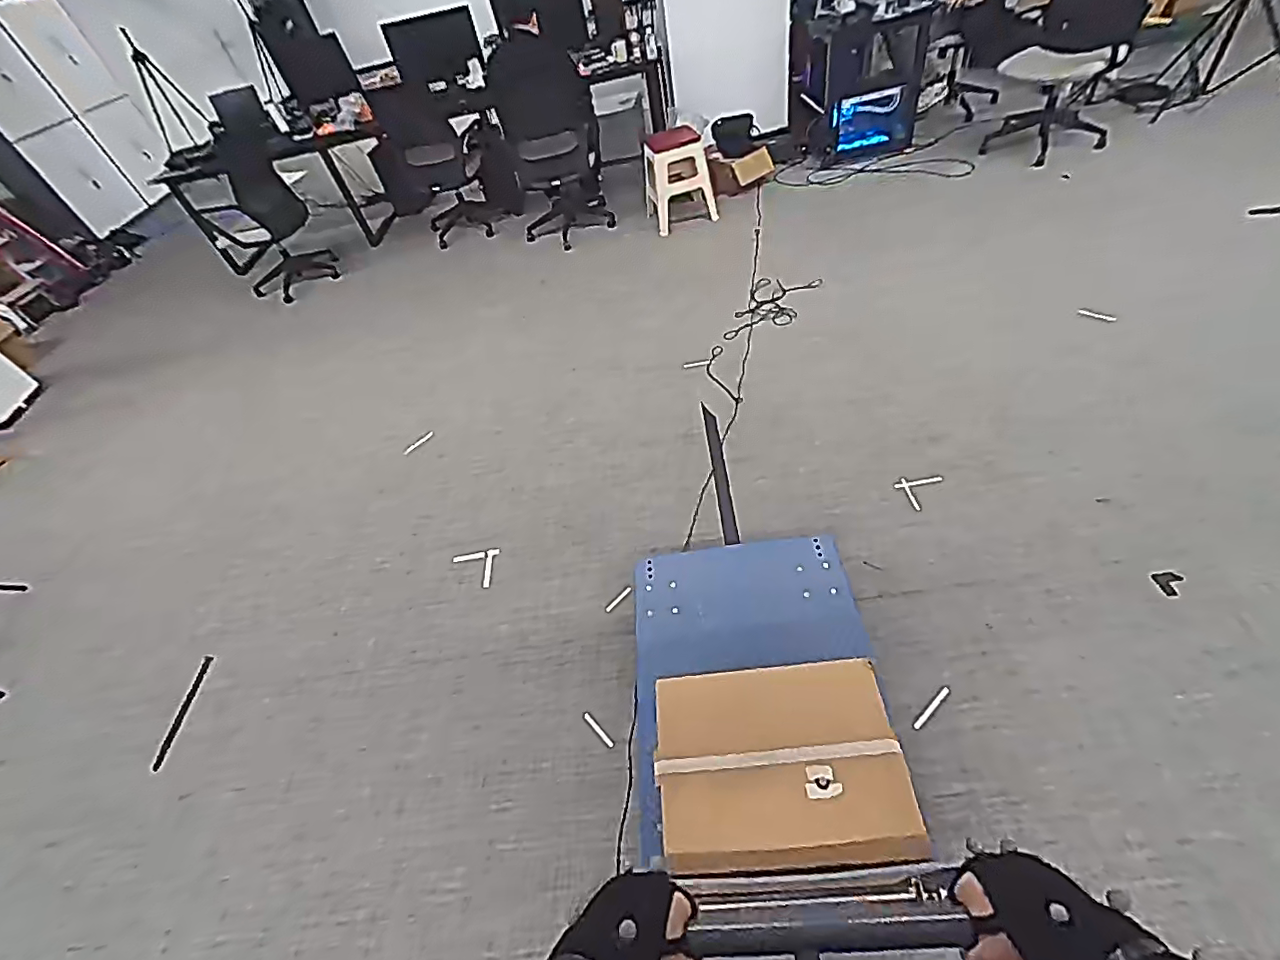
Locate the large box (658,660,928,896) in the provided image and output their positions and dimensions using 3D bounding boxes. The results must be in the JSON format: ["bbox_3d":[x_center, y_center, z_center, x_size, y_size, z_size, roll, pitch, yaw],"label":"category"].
[{"bbox_3d":[0.261,0.581,1.045,0.408,0.320,0.320,-8,48,6],"label":"large box"}]
